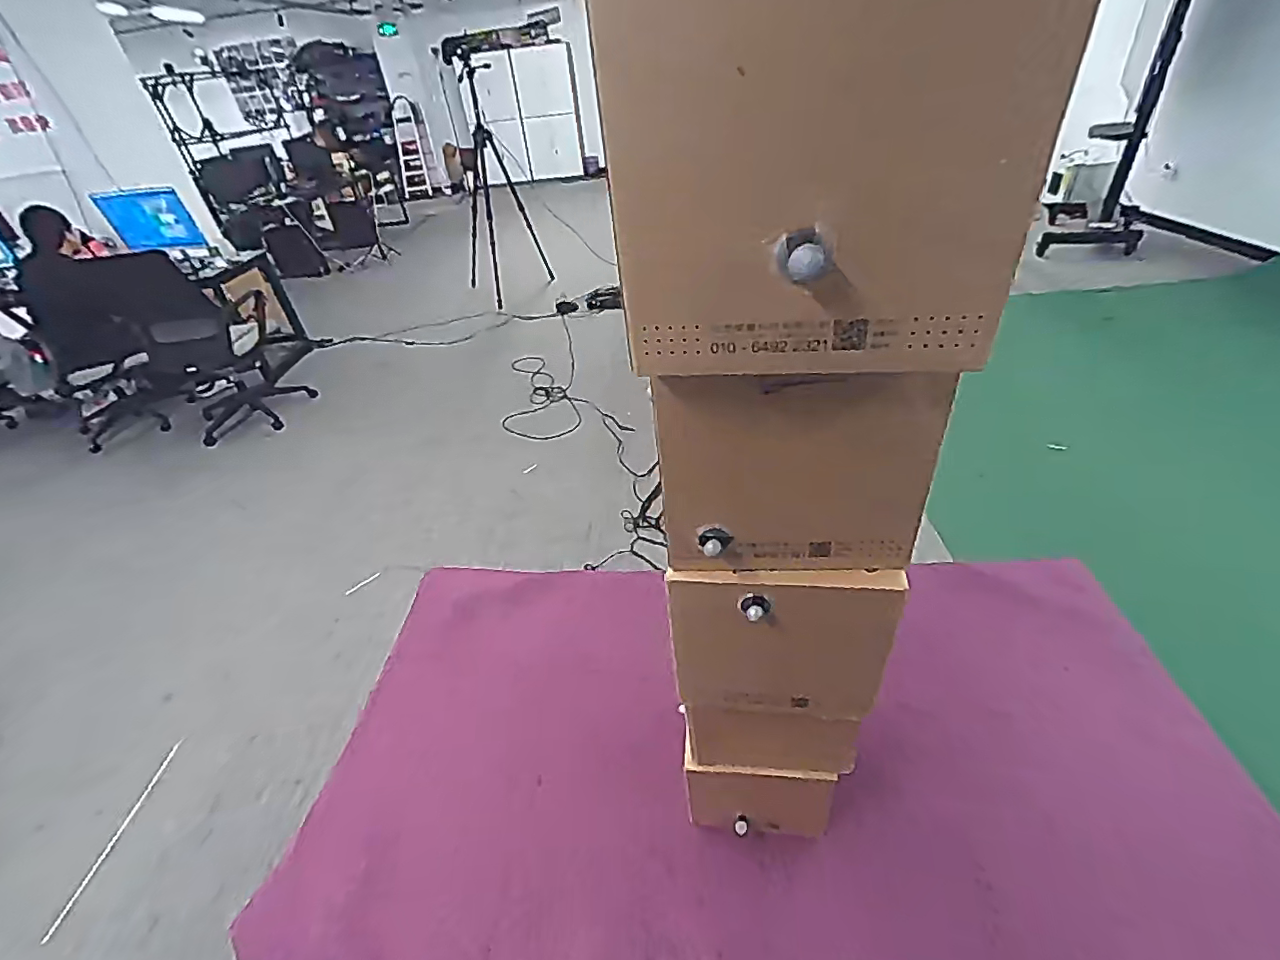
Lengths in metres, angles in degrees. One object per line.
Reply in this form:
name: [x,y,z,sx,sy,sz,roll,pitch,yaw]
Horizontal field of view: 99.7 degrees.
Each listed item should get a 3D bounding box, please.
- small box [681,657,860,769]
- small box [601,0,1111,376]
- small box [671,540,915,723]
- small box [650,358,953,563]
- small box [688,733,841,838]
small box: [0.142,0.198,0.600,0.179,0.176,0.168,-1,38,9]
small box: [0.084,-0.167,0.272,0.168,0.176,0.179,1,39,12]
small box: [0.123,0.084,0.482,0.168,0.176,0.179,0,37,11]
small box: [0.103,-0.054,0.393,0.168,0.176,0.179,-2,37,7]
small box: [0.153,0.326,0.698,0.168,0.176,0.179,-1,39,10]
